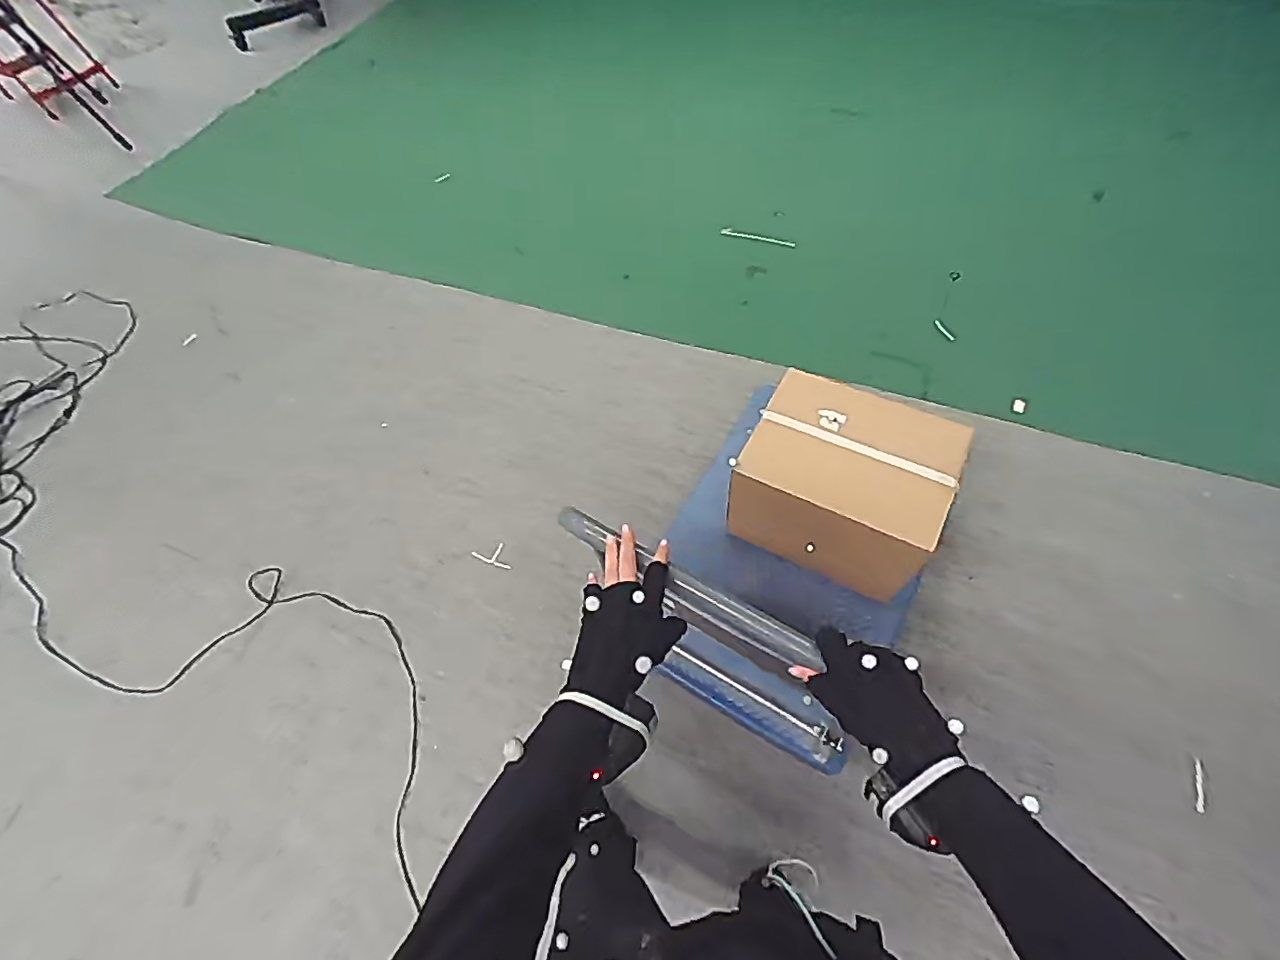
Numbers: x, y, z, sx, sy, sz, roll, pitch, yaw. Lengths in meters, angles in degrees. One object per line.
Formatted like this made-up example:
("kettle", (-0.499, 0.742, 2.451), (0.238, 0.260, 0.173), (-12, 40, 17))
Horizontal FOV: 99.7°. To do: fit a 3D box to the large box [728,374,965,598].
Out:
("large box", (0.450, 0.018, 1.251), (0.408, 0.320, 0.320), (24, 64, 20))
